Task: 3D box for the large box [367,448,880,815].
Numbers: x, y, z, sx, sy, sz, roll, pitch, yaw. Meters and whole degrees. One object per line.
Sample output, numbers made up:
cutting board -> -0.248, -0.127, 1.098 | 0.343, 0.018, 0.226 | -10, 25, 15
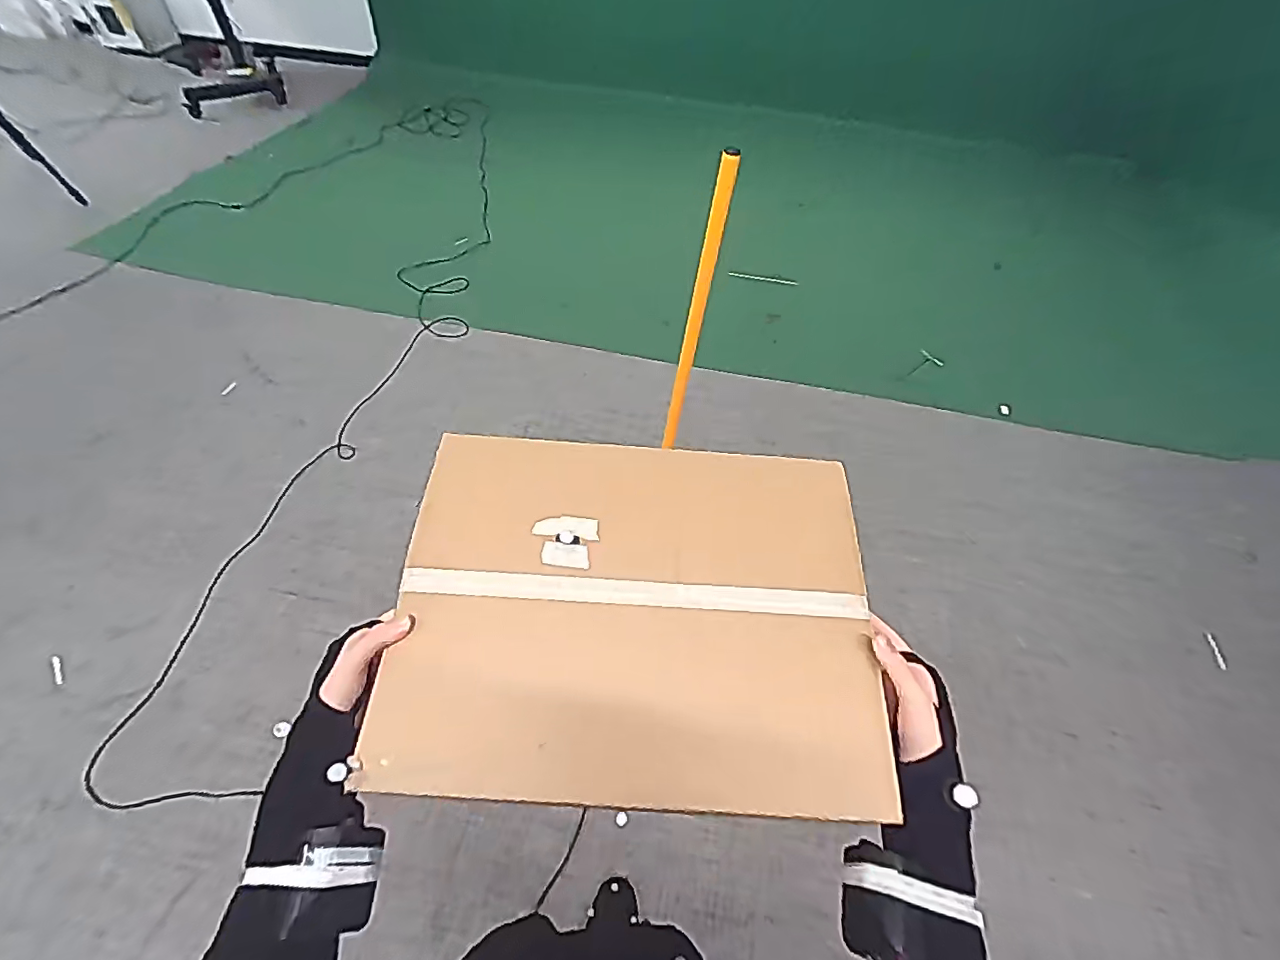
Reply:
large box -> -0.008, 0.182, 0.614 | 0.408, 0.320, 0.320 | 4, 60, 0
